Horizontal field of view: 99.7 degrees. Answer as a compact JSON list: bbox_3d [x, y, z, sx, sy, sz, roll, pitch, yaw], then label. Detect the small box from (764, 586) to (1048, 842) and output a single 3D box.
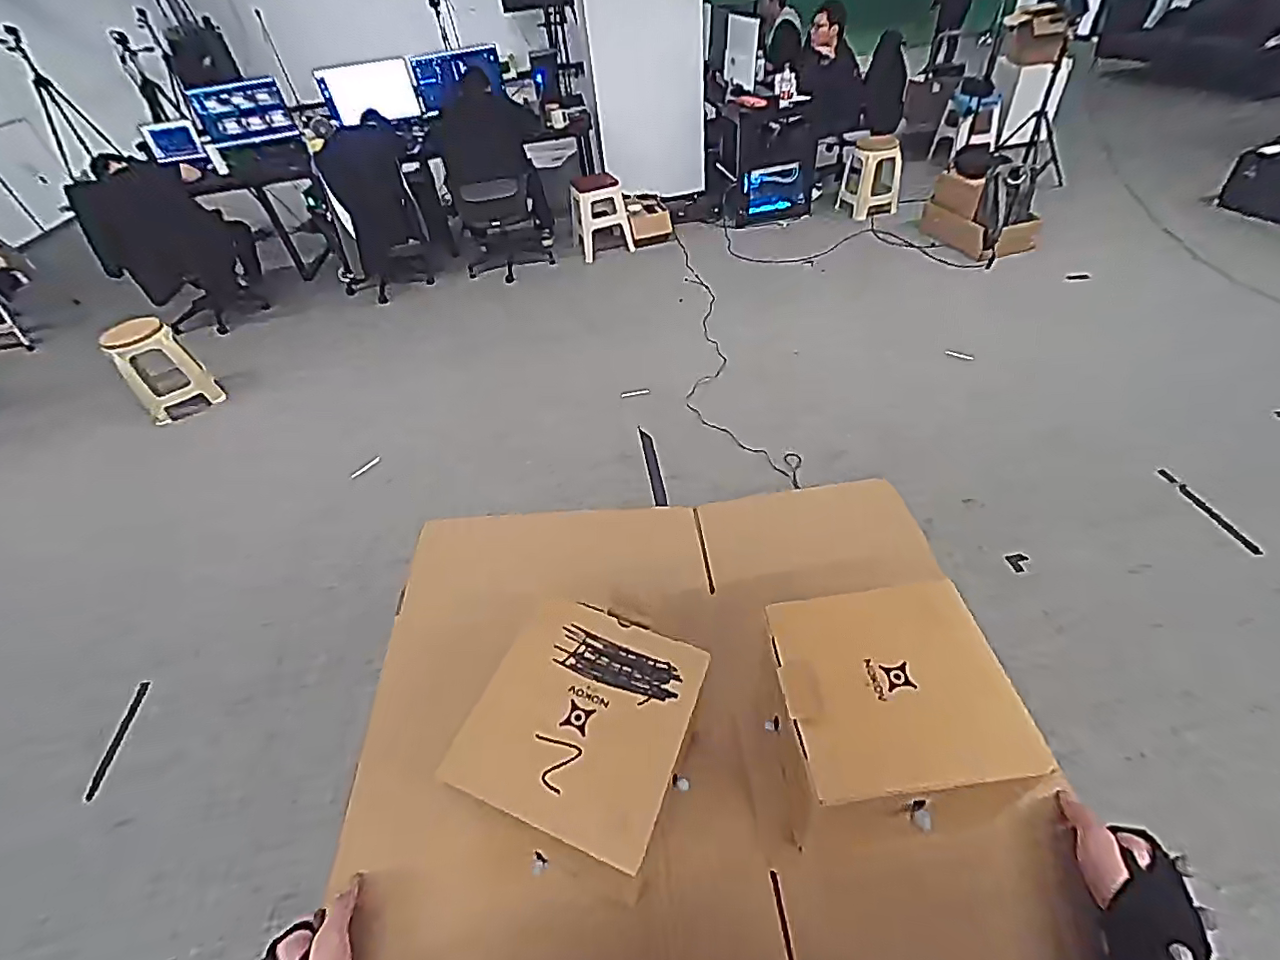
[{"bbox_3d":[0.223,0.226,0.515,0.179,0.176,0.168,-10,45,2],"label":"small box"}]
